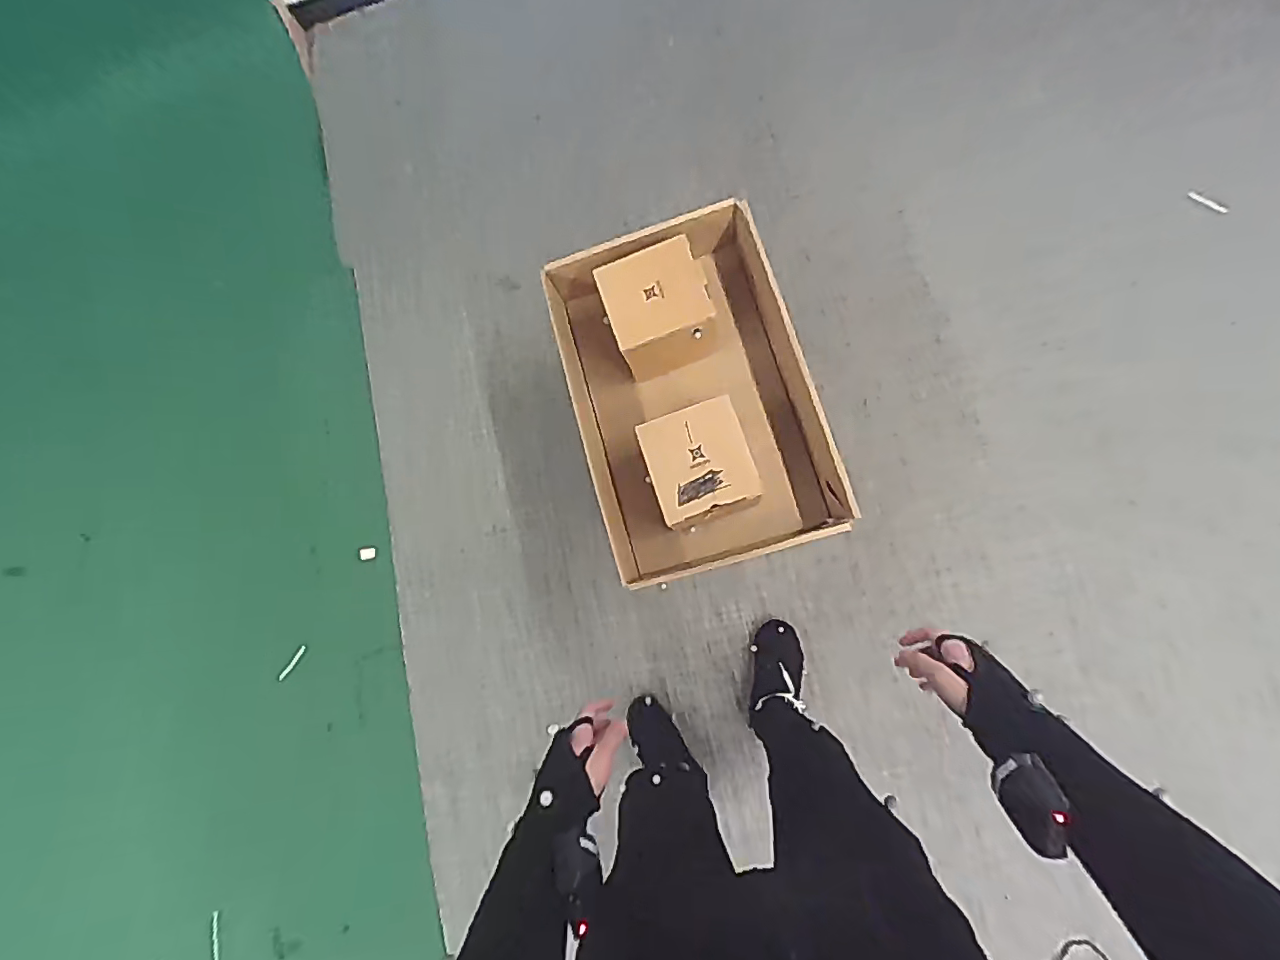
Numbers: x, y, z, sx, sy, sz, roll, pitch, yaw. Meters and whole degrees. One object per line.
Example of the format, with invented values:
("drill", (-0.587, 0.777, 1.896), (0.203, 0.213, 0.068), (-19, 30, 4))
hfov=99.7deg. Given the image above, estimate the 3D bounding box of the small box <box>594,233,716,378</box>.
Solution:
("small box", (0.035, -0.310, 1.001), (0.179, 0.176, 0.168), (-20, 78, 4))
